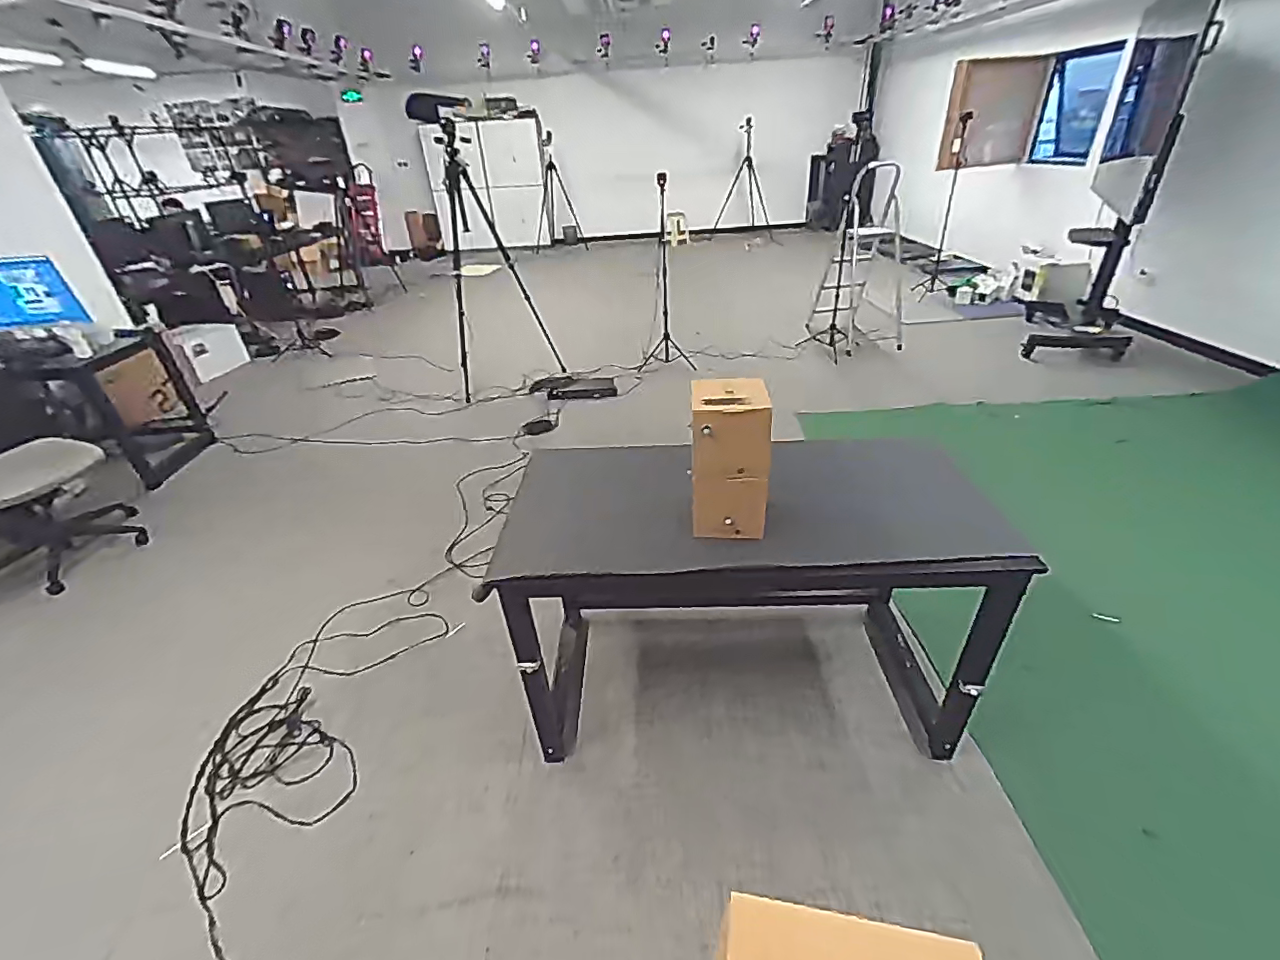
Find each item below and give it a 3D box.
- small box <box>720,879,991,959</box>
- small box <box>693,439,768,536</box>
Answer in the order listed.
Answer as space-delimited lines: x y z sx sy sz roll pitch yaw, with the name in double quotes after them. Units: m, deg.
0.134 0.407 0.354 0.168 0.176 0.179 5 38 9 "small box"
0.213 0.015 1.306 0.168 0.176 0.179 0 32 7 "small box"
